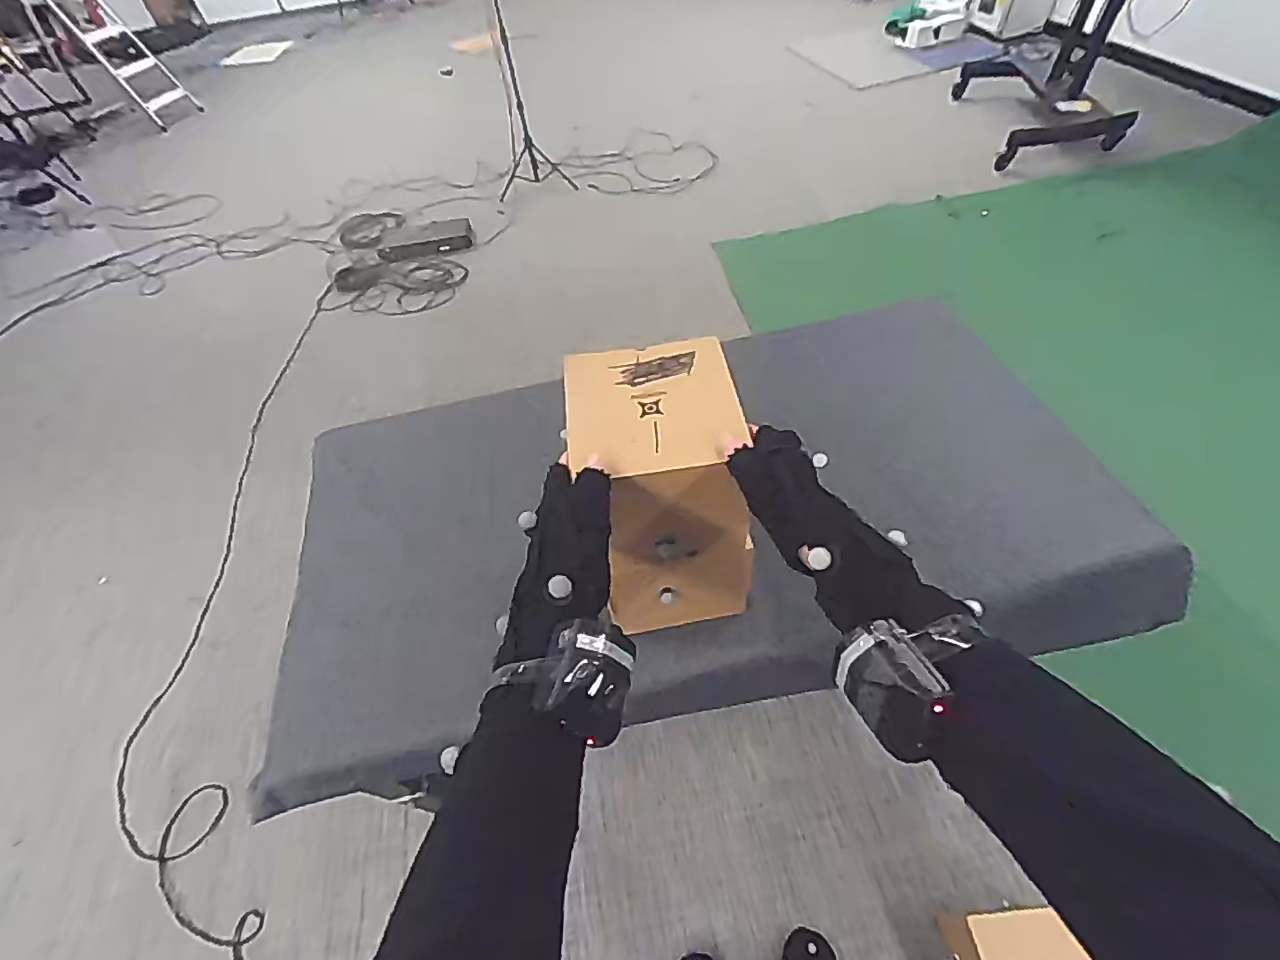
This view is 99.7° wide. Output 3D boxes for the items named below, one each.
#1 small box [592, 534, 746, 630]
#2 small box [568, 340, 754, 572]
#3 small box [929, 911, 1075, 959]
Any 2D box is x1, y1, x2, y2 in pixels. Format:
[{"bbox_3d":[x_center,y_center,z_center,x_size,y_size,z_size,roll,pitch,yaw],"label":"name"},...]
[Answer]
[{"bbox_3d":[0.032,0.081,0.710,0.179,0.176,0.168,-10,52,-1],"label":"small box"},{"bbox_3d":[0.017,-0.023,0.582,0.168,0.176,0.179,-7,52,0],"label":"small box"},{"bbox_3d":[0.650,0.874,0.955,0.179,0.176,0.168,-7,51,2],"label":"small box"}]
